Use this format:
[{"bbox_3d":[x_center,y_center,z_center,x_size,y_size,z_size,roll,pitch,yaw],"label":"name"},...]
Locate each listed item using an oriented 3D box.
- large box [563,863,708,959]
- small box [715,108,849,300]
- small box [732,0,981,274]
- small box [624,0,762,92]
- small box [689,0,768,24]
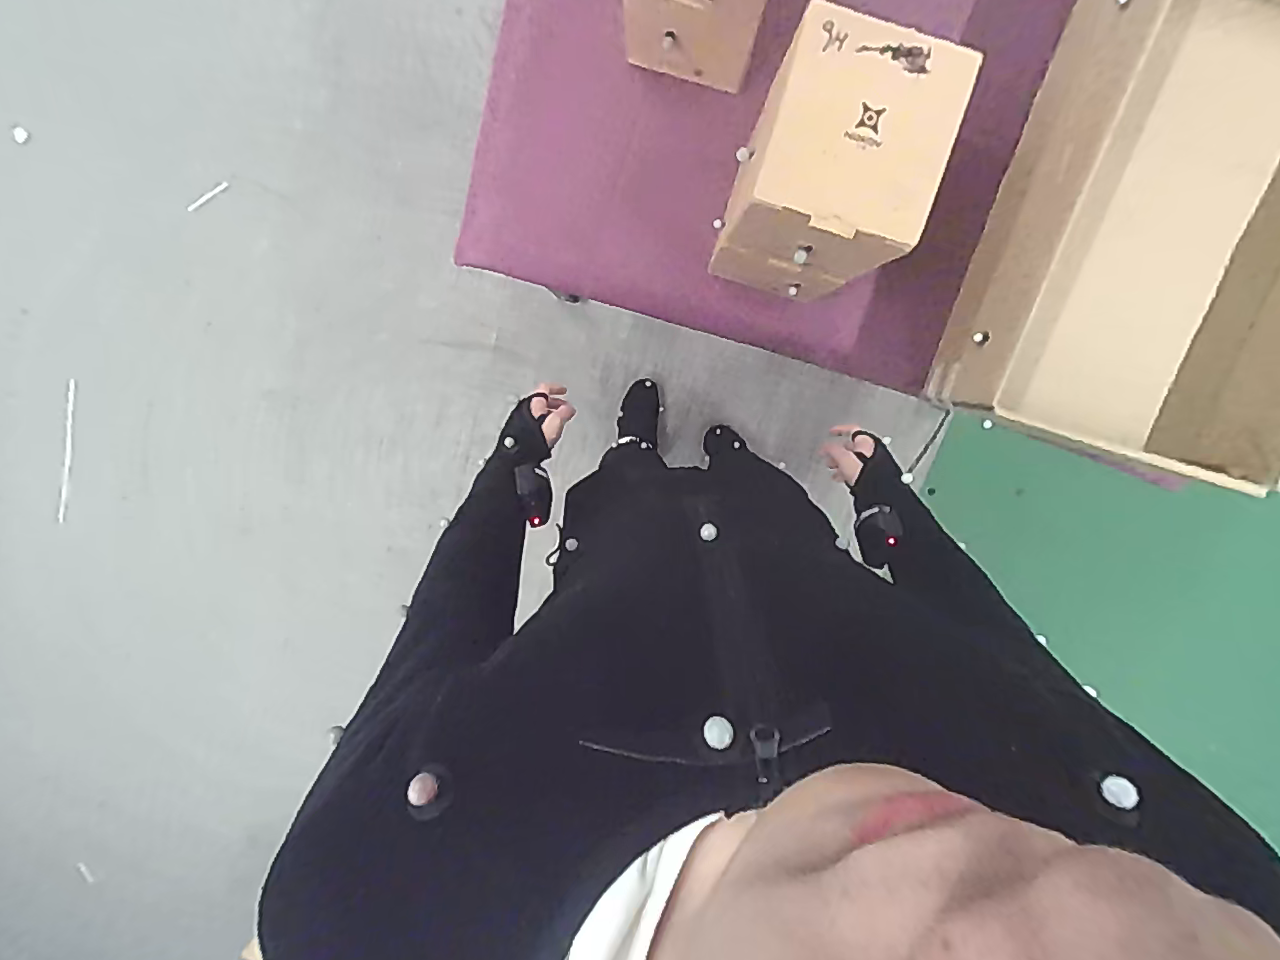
[{"bbox_3d":[-0.005,1.541,1.760,0.408,0.320,0.320,-15,101,3],"label":"large box"},{"bbox_3d":[0.207,-0.361,0.736,0.168,0.176,0.179,17,99,-2],"label":"small box"},{"bbox_3d":[0.206,-0.337,0.574,0.168,0.176,0.179,16,100,-3],"label":"small box"},{"bbox_3d":[0.084,-0.643,0.688,0.168,0.176,0.179,15,100,-1],"label":"small box"},{"bbox_3d":[0.088,-0.614,0.526,0.168,0.176,0.179,20,101,-2],"label":"small box"}]
